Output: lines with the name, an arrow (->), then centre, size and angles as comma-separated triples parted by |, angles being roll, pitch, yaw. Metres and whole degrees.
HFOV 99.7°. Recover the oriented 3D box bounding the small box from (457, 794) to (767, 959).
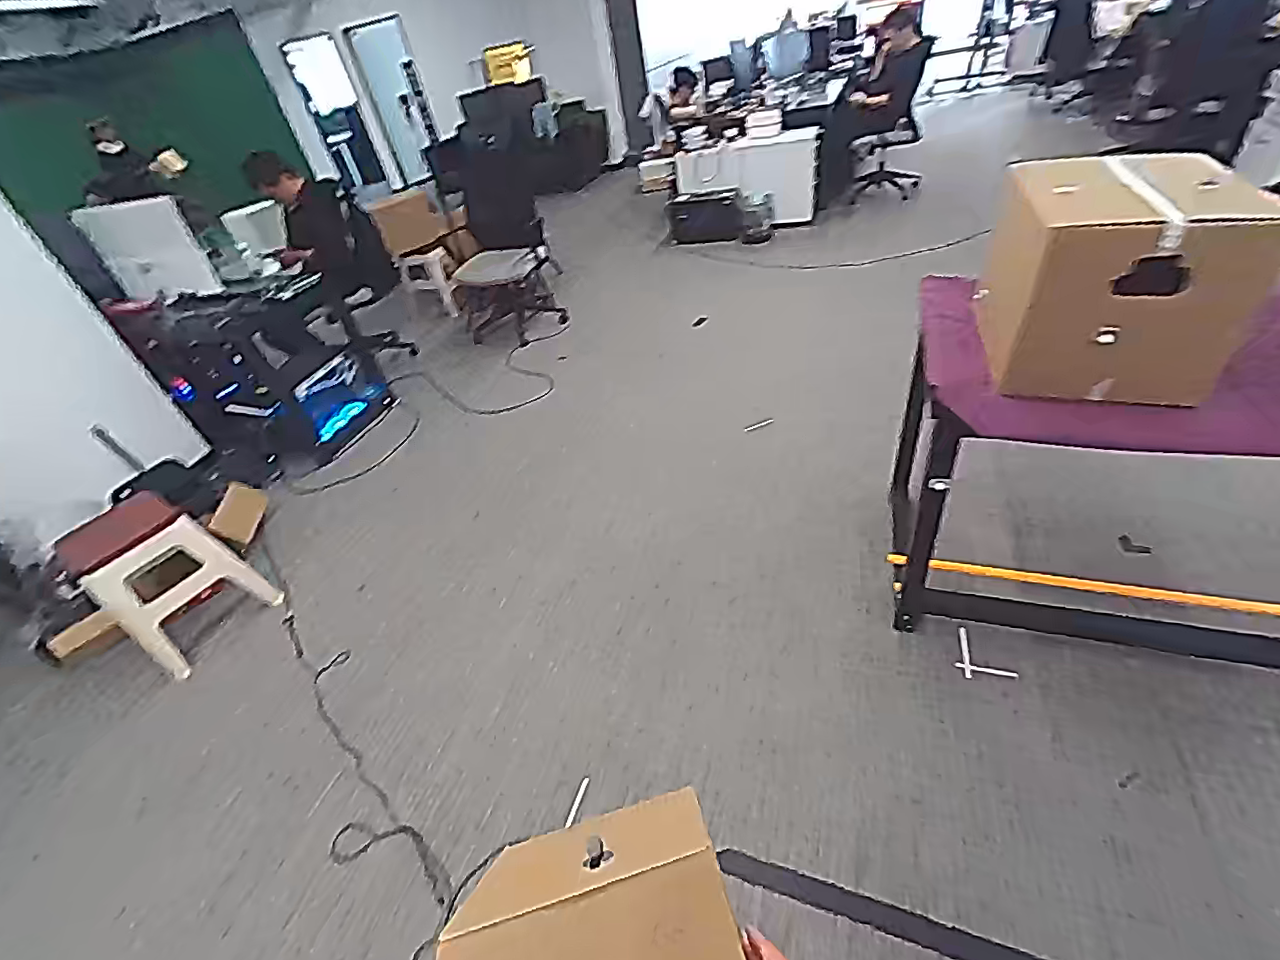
small box -> -0.004, 0.344, 0.376 | 0.179, 0.176, 0.168 | -15, 71, -3
